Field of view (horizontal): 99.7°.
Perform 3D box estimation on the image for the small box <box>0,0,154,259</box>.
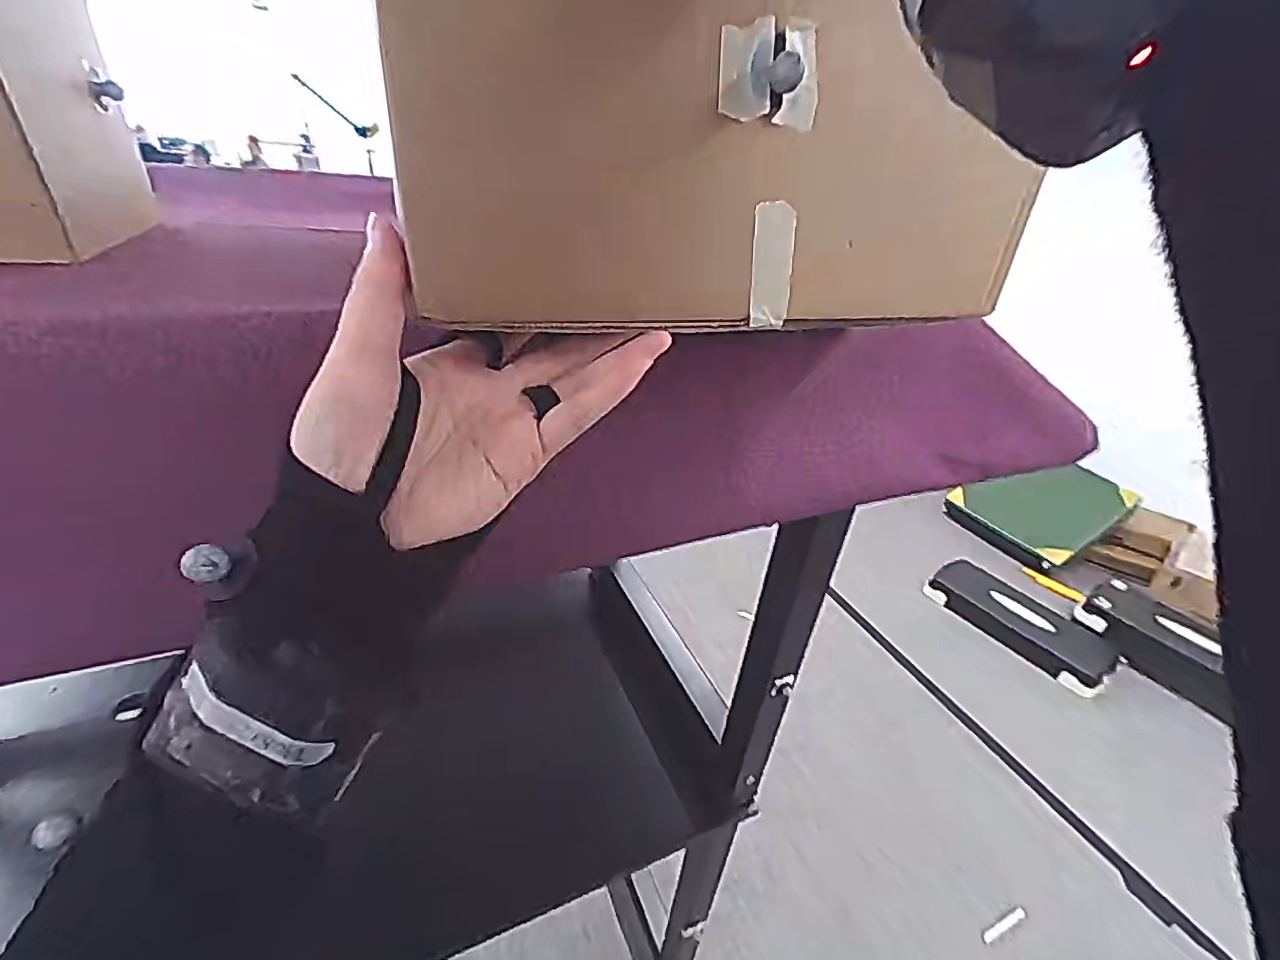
[{"bbox_3d":[-0.422,-0.232,0.305,0.168,0.176,0.179,-9,35,-22],"label":"small box"}]
